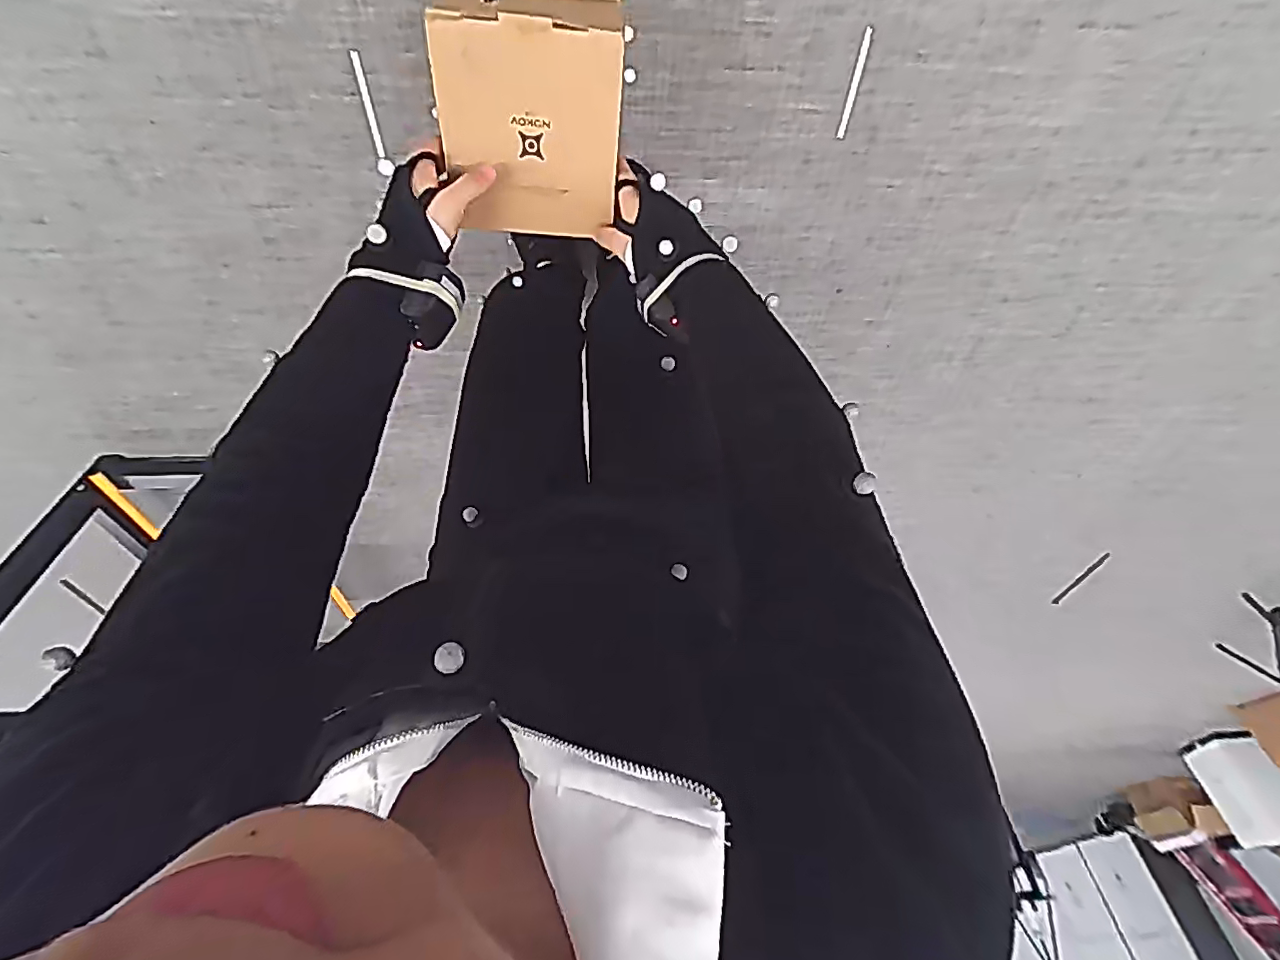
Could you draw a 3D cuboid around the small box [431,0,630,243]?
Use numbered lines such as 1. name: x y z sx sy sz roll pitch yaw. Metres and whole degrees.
1. small box: -0.102 -0.373 0.558 0.168 0.176 0.179 2 138 -6
